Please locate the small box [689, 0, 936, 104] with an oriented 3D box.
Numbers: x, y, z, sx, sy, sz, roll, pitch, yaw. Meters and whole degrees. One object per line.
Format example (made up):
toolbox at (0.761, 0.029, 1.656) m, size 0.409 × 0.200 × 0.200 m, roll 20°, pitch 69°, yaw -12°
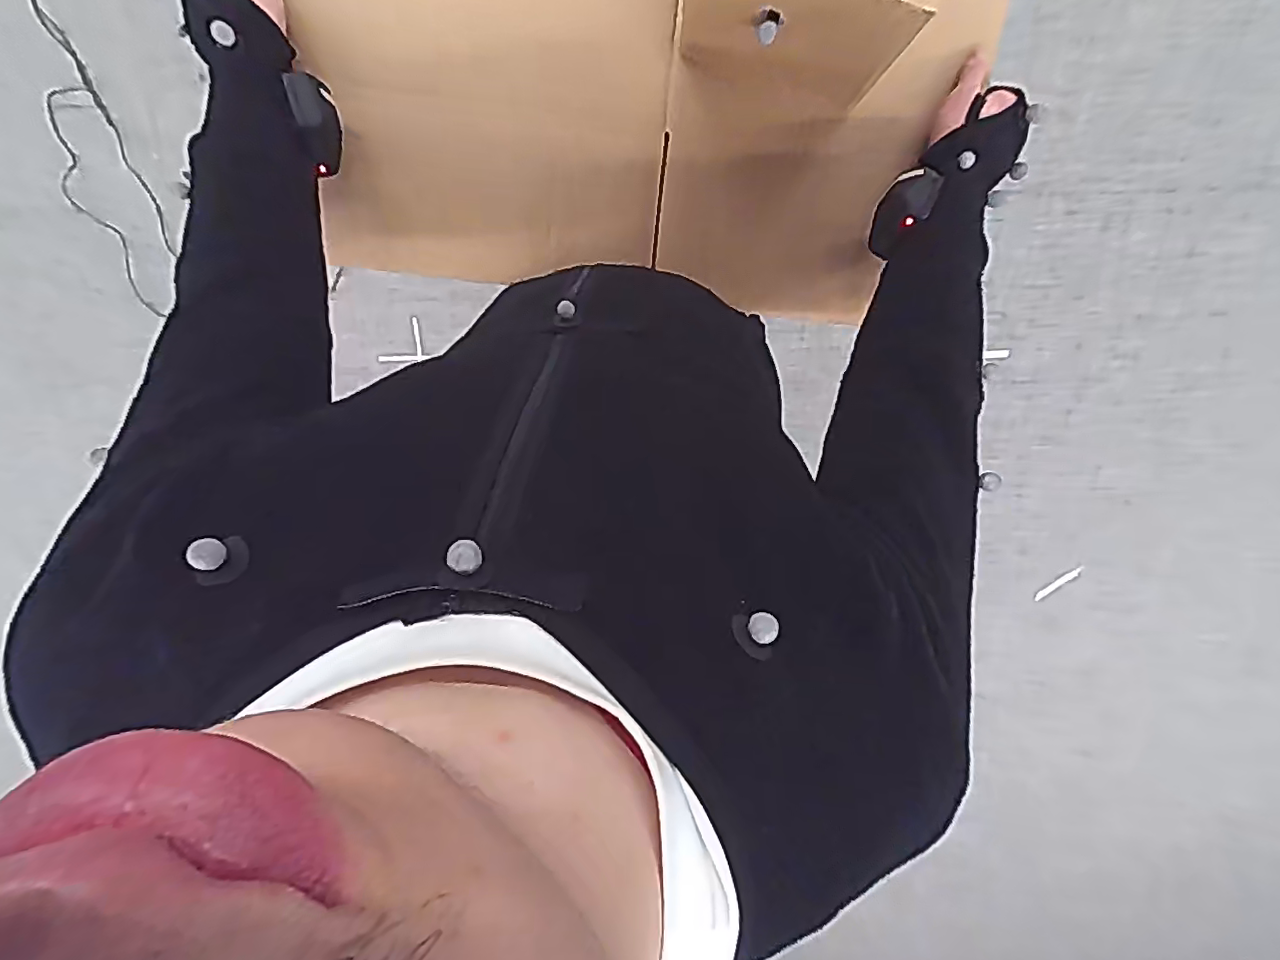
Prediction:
small box at (0.142, -0.433, 0.421) m, size 0.179 × 0.176 × 0.168 m, roll 17°, pitch 106°, yaw -1°
